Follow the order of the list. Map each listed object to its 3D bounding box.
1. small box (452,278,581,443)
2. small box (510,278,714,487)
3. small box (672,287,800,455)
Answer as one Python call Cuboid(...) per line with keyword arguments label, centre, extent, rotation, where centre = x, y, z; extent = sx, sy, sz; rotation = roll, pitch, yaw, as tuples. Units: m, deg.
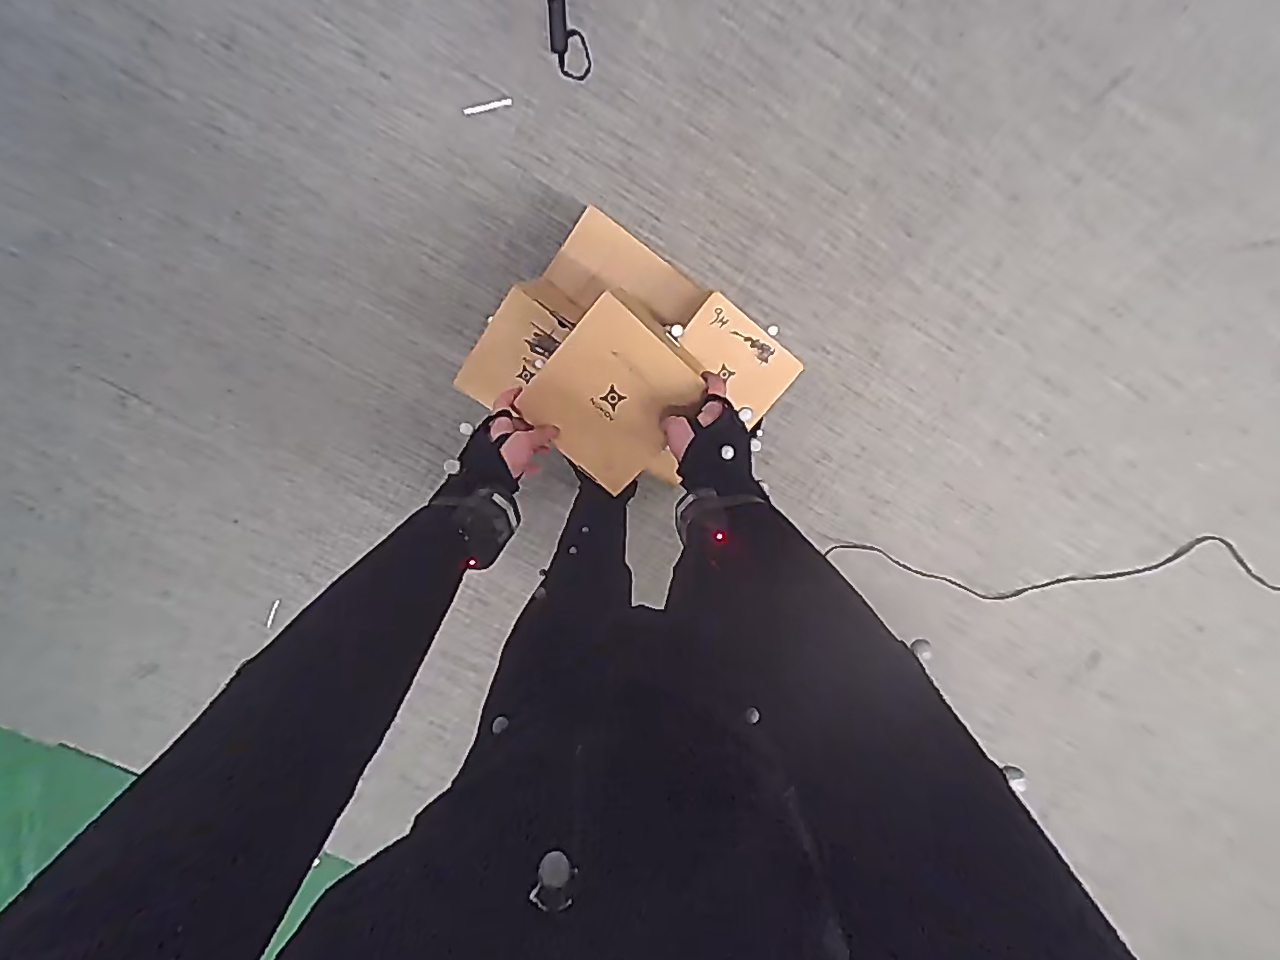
Cuboid(label="small box", centre=(-0.151, -0.192, 0.834), extent=(0.168, 0.176, 0.179), rotation=(38, 110, -11))
Cuboid(label="small box", centre=(-0.030, -0.127, 0.676), extent=(0.168, 0.176, 0.179), rotation=(40, 105, -13))
Cuboid(label="small box", centre=(0.112, -0.172, 0.829), extent=(0.168, 0.176, 0.179), rotation=(37, 107, -10))
